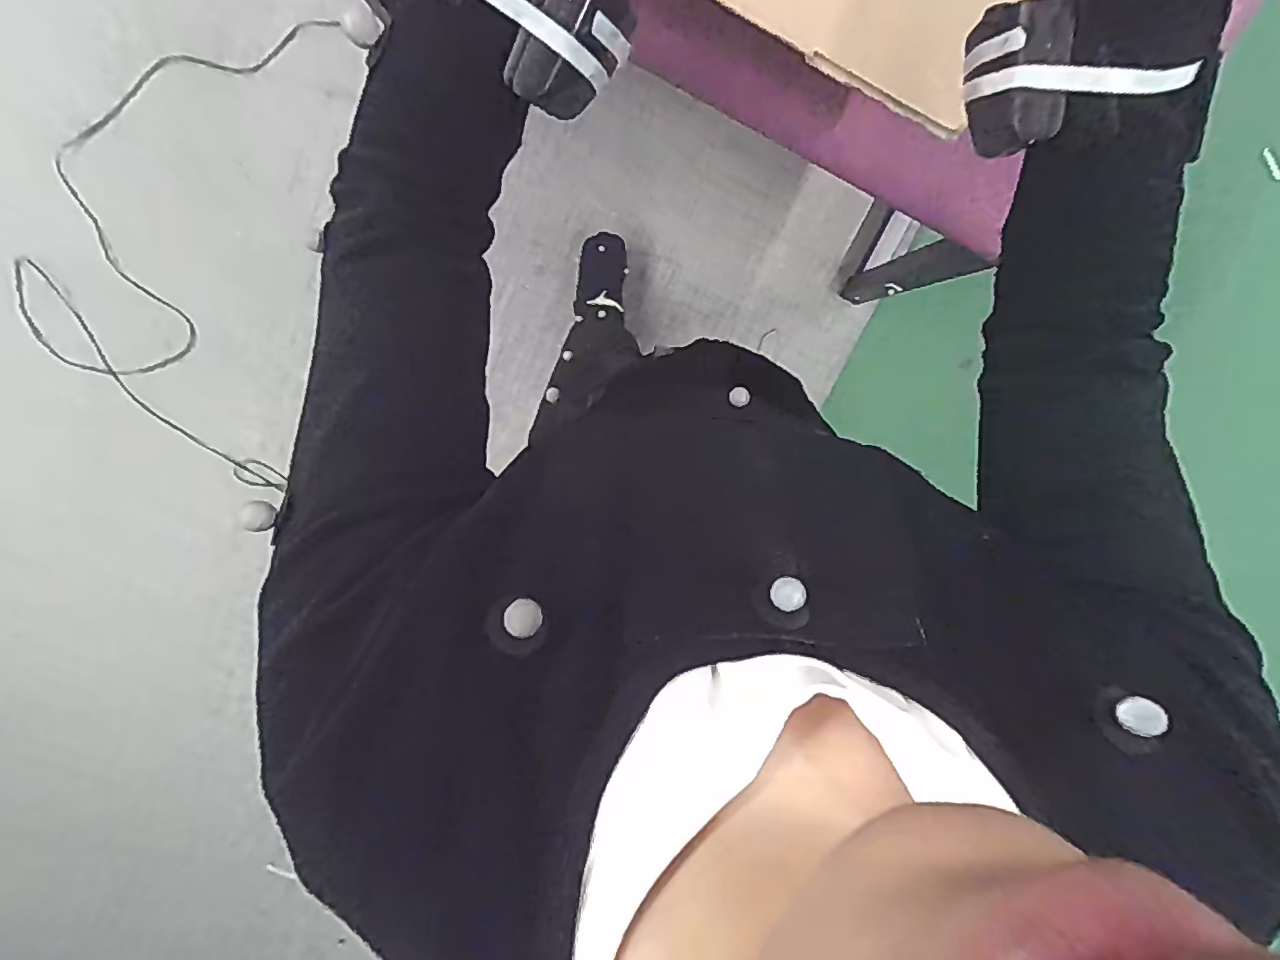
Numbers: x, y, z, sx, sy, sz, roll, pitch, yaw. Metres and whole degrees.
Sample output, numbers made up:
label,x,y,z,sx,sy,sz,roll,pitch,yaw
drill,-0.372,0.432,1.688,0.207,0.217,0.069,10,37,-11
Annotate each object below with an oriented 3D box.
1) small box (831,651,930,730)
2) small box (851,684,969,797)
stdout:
label,x,y,z,sx,sy,sz,roll,pitch,yaw
small box,0.674,0.614,1.526,0.179,0.176,0.168,23,102,-4
small box,0.672,0.651,1.368,0.179,0.176,0.168,21,103,-3
